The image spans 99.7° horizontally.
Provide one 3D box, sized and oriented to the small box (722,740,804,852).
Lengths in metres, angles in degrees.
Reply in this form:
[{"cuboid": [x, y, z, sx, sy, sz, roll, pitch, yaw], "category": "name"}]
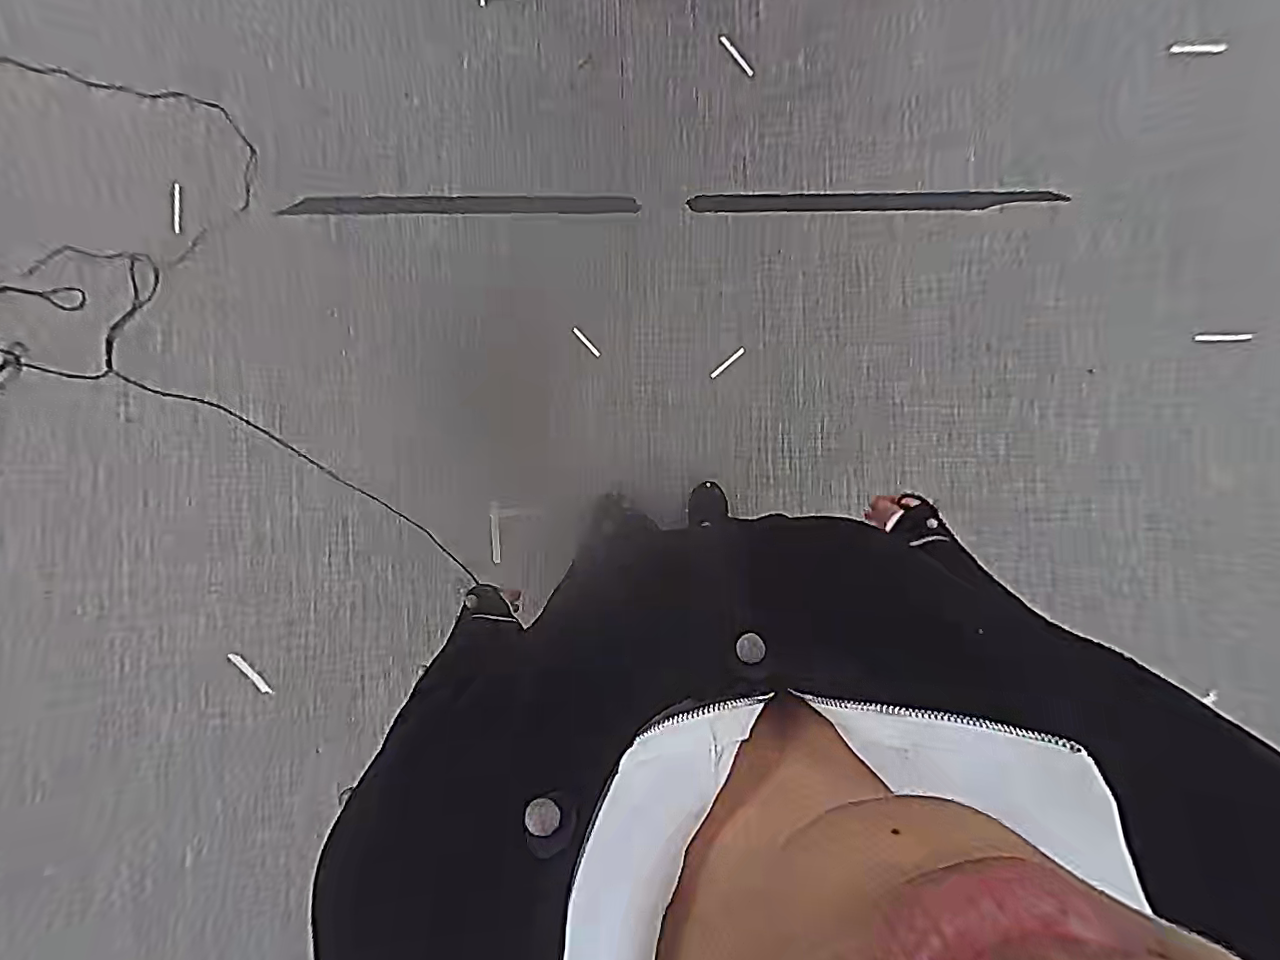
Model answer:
[{"cuboid": [0.291, 0.755, 1.303, 0.168, 0.176, 0.179, -2, 90, 1], "category": "small box"}]
